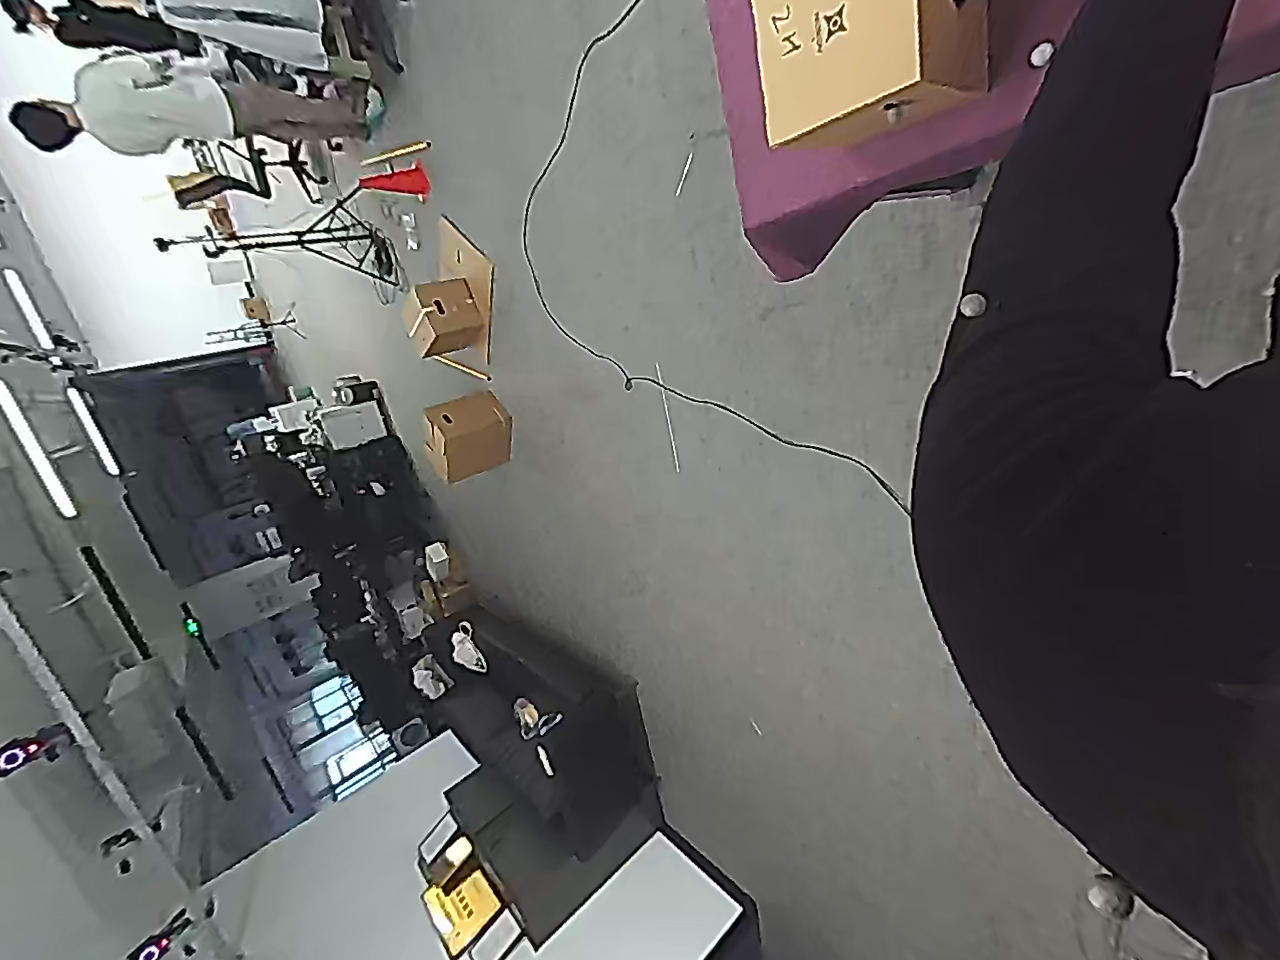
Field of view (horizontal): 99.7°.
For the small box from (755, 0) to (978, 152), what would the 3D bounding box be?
[{"bbox_3d":[0.255,-0.484,0.599,0.179,0.176,0.168,10,117,50],"label":"small box"}]
